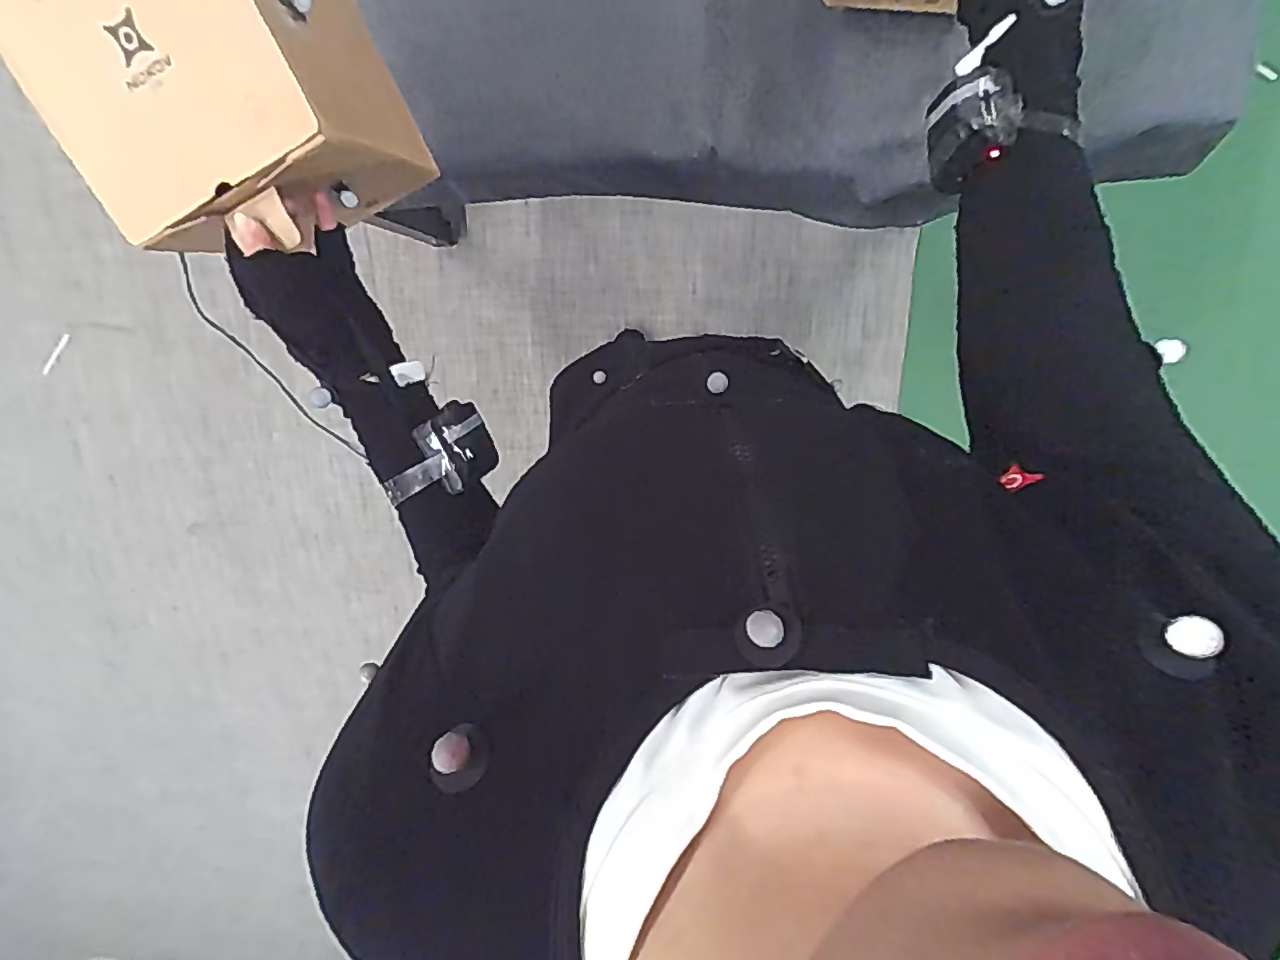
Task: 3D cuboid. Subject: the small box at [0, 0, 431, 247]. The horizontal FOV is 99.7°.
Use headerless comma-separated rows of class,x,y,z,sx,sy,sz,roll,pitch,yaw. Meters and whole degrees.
small box,-0.287,-0.287,0.389,0.168,0.176,0.179,-21,108,13
